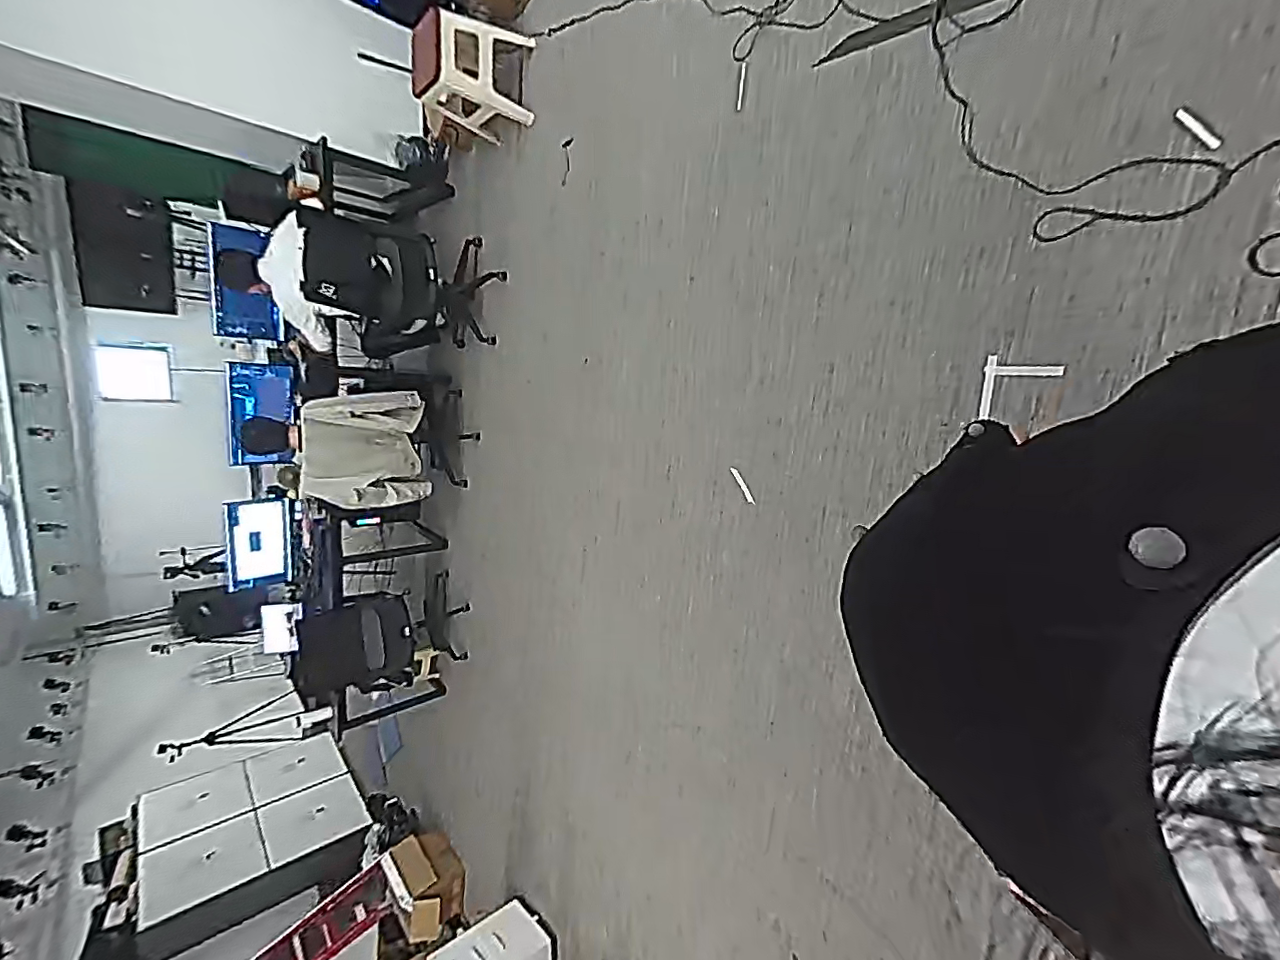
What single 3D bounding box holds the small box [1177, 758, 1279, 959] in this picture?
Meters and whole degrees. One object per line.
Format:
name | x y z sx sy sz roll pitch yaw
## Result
small box | 0.783 0.479 0.646 0.168 0.176 0.179 17 103 44
